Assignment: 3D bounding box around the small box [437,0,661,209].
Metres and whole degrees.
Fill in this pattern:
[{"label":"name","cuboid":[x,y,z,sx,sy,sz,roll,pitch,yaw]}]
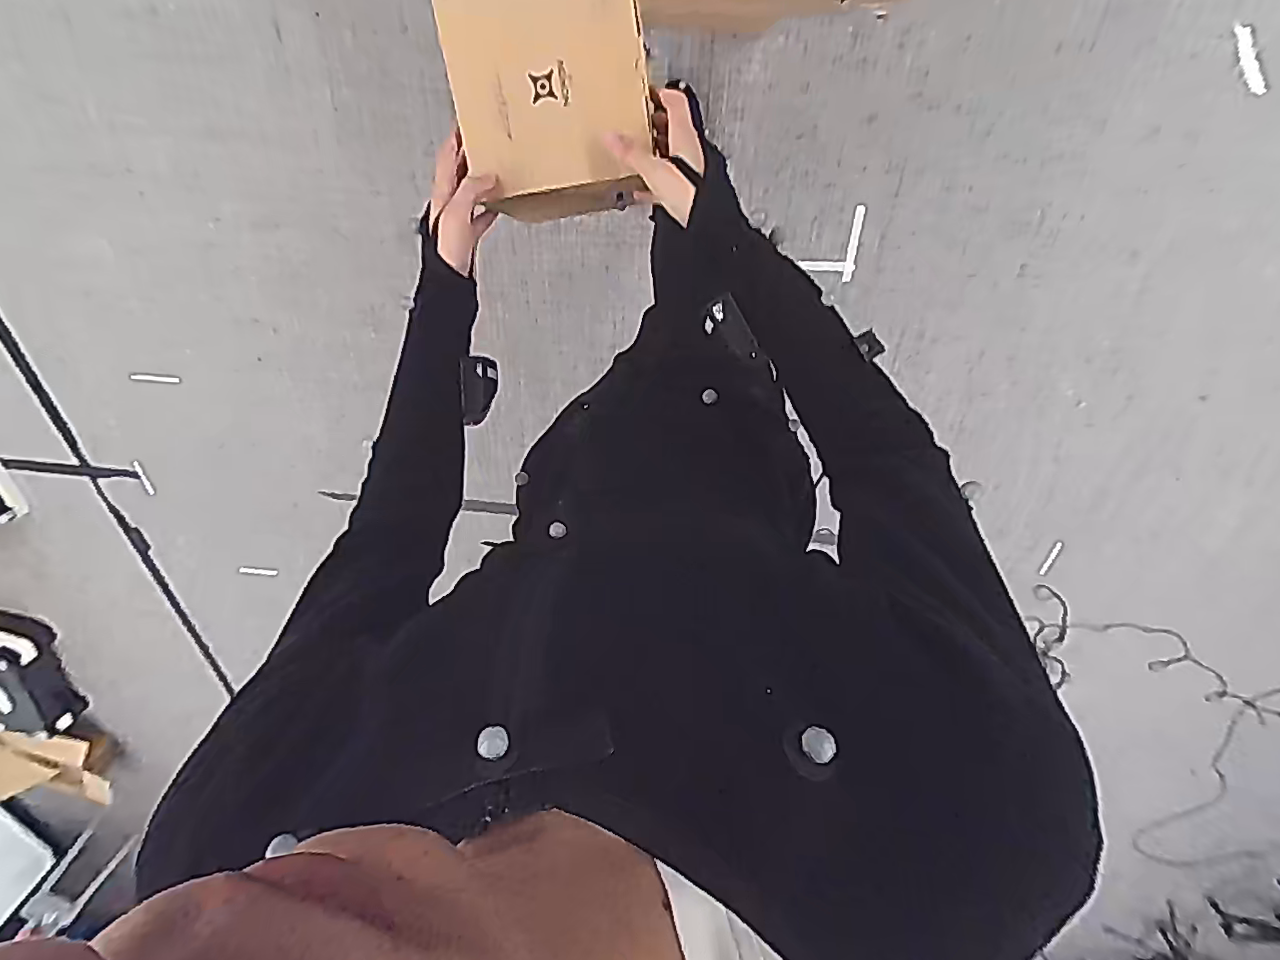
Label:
[{"label":"small box","cuboid":[-0.075,-0.386,0.546,0.179,0.176,0.168,-7,108,6]}]
